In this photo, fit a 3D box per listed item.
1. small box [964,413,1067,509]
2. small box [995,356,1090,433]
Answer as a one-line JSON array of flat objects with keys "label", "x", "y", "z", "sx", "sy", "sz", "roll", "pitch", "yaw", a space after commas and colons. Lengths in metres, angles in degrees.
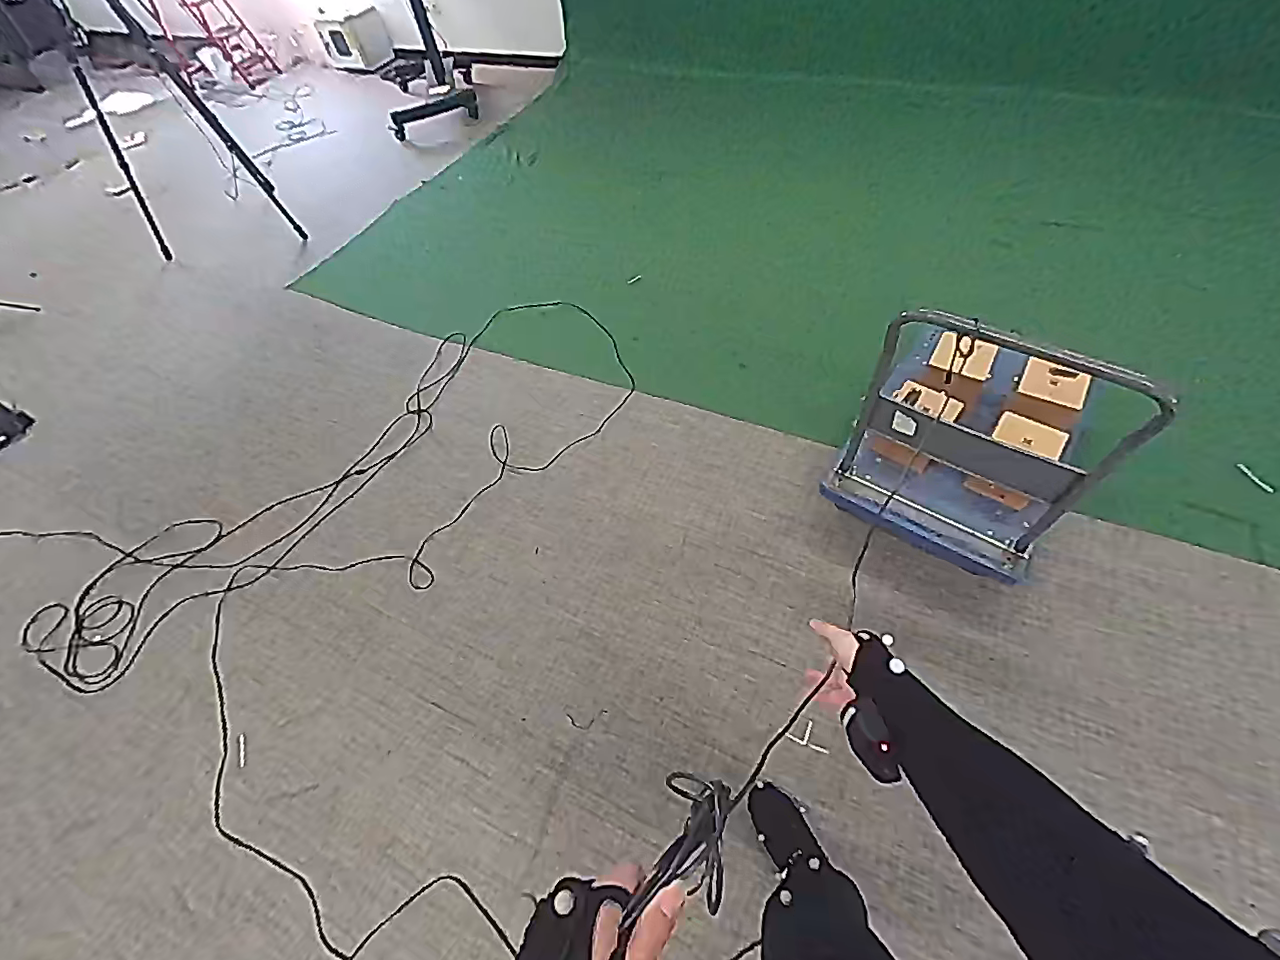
[{"label": "small box", "x": 1.060, "y": -0.053, "z": 1.538, "sx": 0.168, "sy": 0.176, "sz": 0.179, "roll": 30, "pitch": 64, "yaw": 25}, {"label": "small box", "x": 1.221, "y": -0.239, "z": 1.649, "sx": 0.168, "sy": 0.176, "sz": 0.179, "roll": 26, "pitch": 62, "yaw": 24}]
